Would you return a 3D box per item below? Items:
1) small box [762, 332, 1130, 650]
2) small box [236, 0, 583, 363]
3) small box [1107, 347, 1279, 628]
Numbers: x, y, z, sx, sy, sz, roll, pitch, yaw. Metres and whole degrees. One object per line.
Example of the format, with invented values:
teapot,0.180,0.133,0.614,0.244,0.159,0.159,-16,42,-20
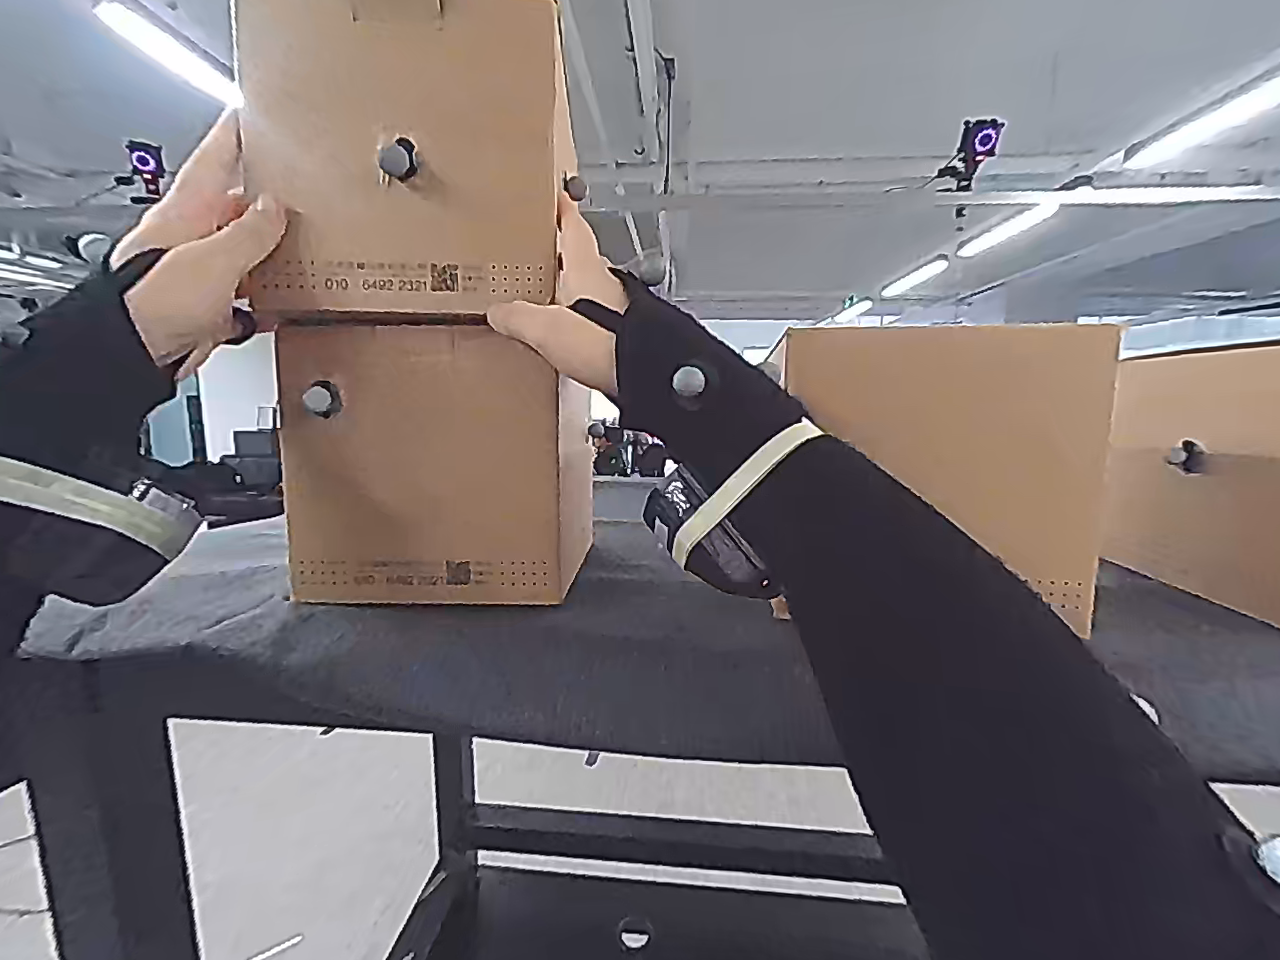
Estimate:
small box,0.174,-0.002,0.370,0.168,0.176,0.179,0,7,8
small box,-0.126,-0.173,0.367,0.168,0.176,0.179,1,7,-3
small box,0.458,0.002,0.353,0.168,0.176,0.179,1,7,7
